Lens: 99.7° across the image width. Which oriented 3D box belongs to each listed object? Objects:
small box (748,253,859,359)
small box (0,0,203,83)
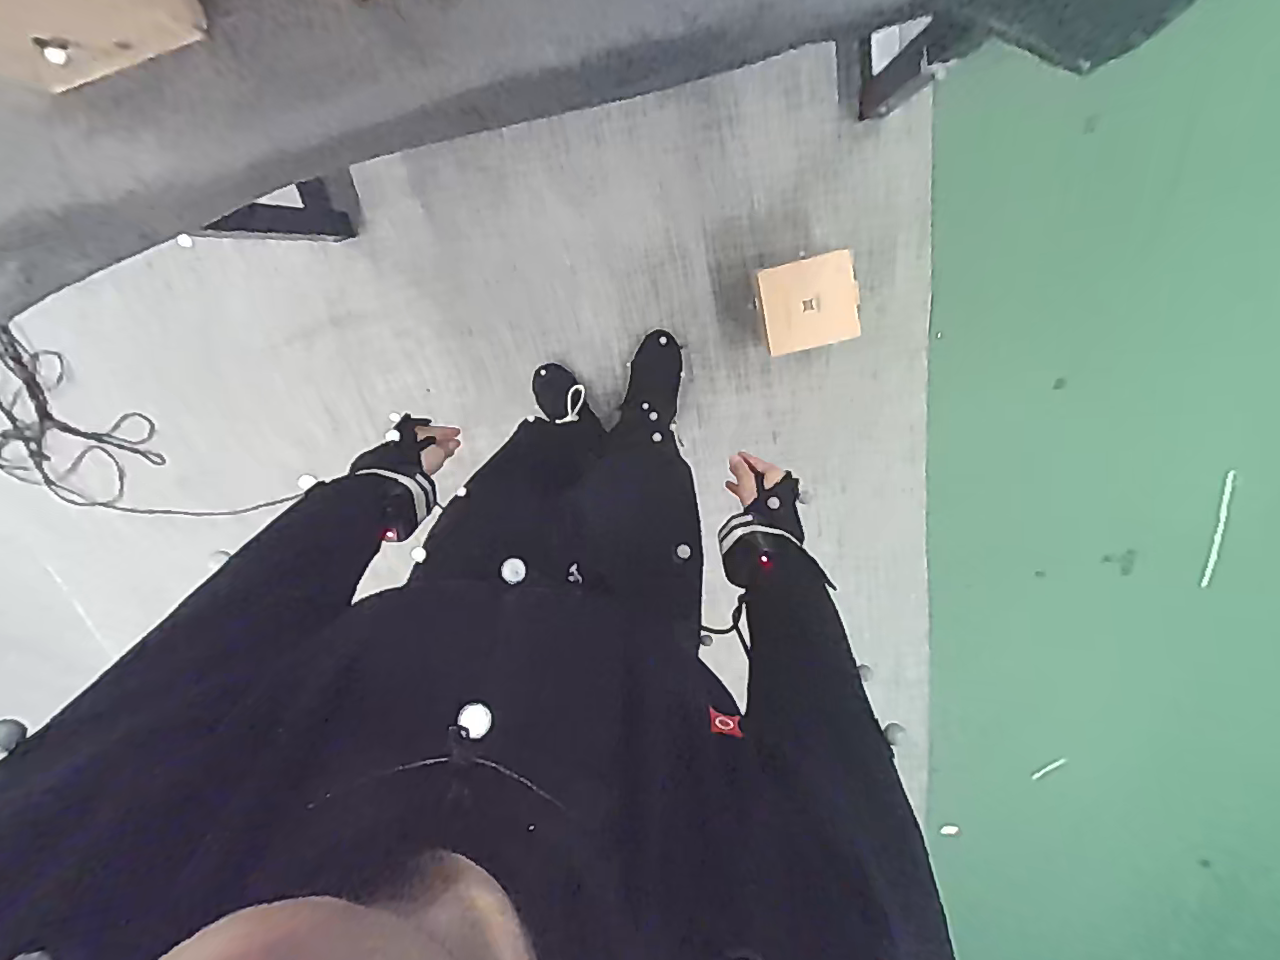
[{"bbox_3d":[0.326,-0.357,1.097,0.179,0.176,0.168,-11,110,10],"label":"small box"},{"bbox_3d":[-0.459,-0.408,0.357,0.168,0.176,0.179,-11,111,9],"label":"small box"}]
